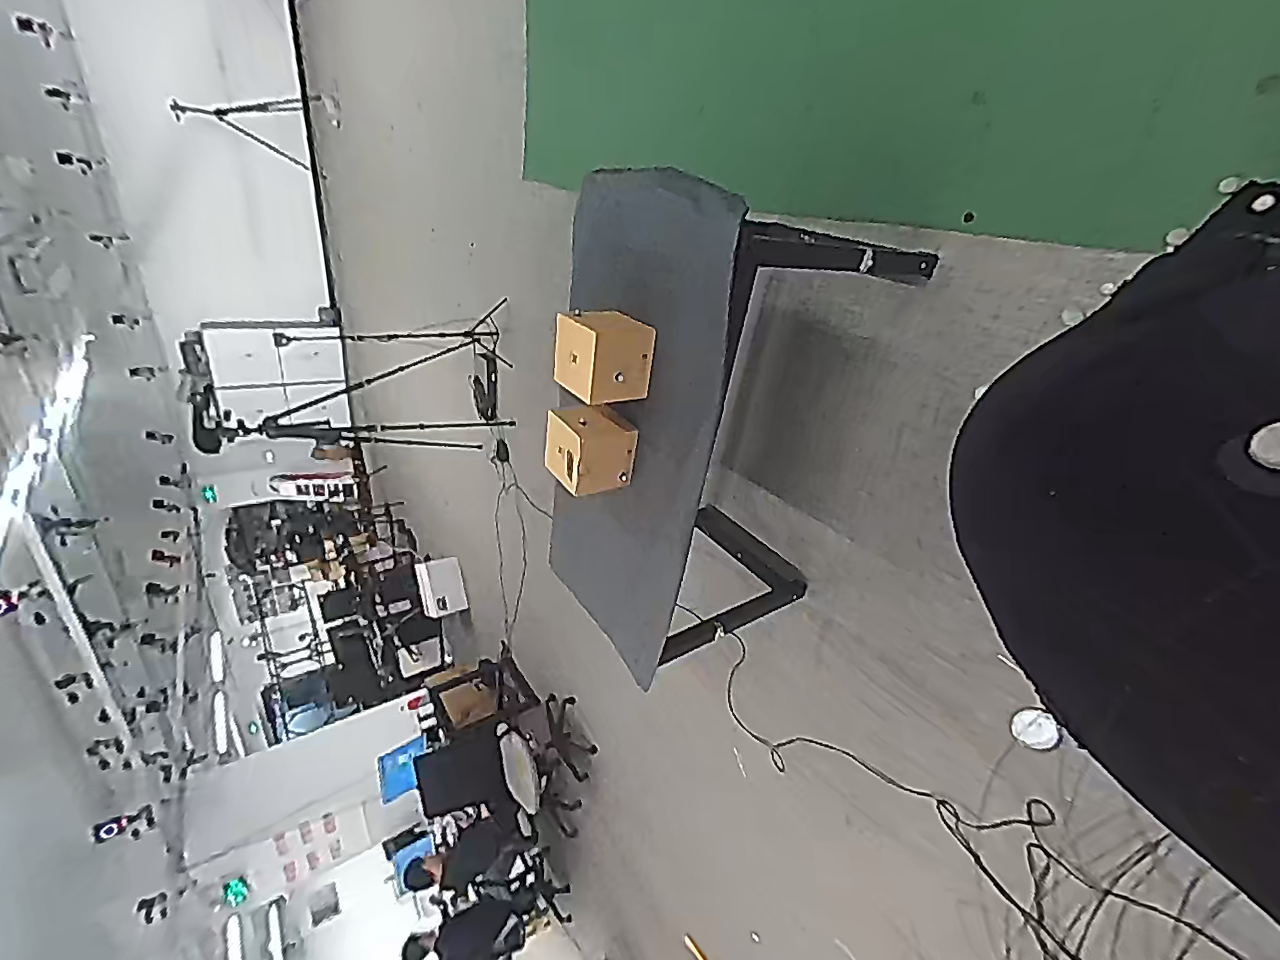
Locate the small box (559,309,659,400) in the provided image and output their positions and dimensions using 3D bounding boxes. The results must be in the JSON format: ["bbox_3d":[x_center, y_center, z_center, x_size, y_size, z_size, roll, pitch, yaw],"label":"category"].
[{"bbox_3d":[-0.074,-0.304,1.277,0.179,0.176,0.168,39,131,43],"label":"small box"}]

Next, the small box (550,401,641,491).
[{"bbox_3d":[-0.116,-0.096,1.405,0.179,0.176,0.168,41,133,42],"label":"small box"}]
